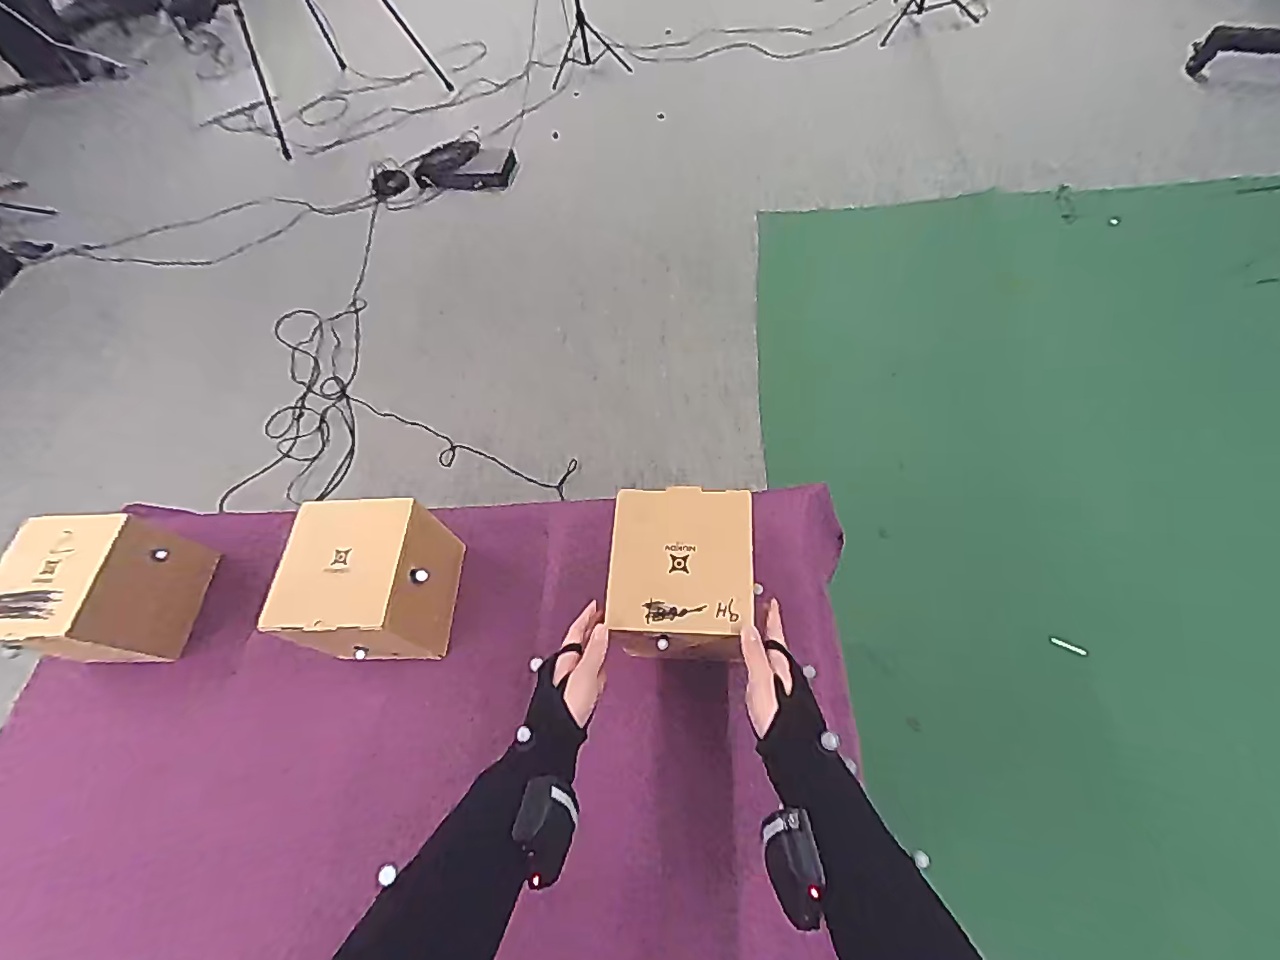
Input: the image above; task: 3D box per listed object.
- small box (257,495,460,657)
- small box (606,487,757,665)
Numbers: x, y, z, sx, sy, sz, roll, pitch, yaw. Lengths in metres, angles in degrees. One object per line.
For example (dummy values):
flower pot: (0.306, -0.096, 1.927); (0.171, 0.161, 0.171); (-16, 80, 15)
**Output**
small box: (-0.366, 0.136, 0.745); (0.168, 0.176, 0.179); (-2, 61, 6)
small box: (0.060, 0.124, 0.687); (0.168, 0.176, 0.179); (1, 62, 10)
